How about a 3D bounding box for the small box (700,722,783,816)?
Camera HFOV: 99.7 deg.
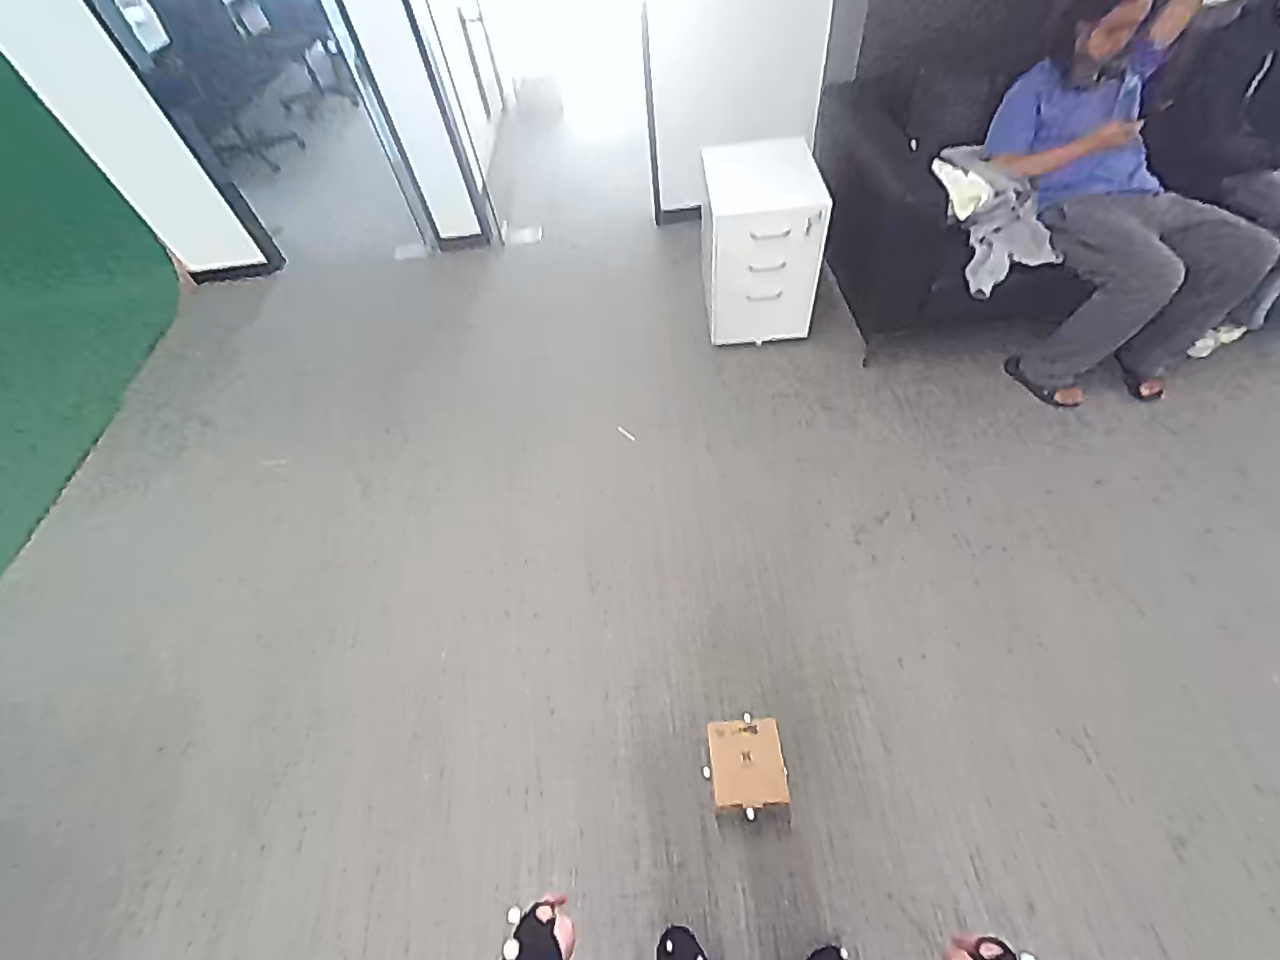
[{"bbox_3d":[0.241,0.707,1.315,0.168,0.176,0.179,-7,53,1],"label":"small box"}]
